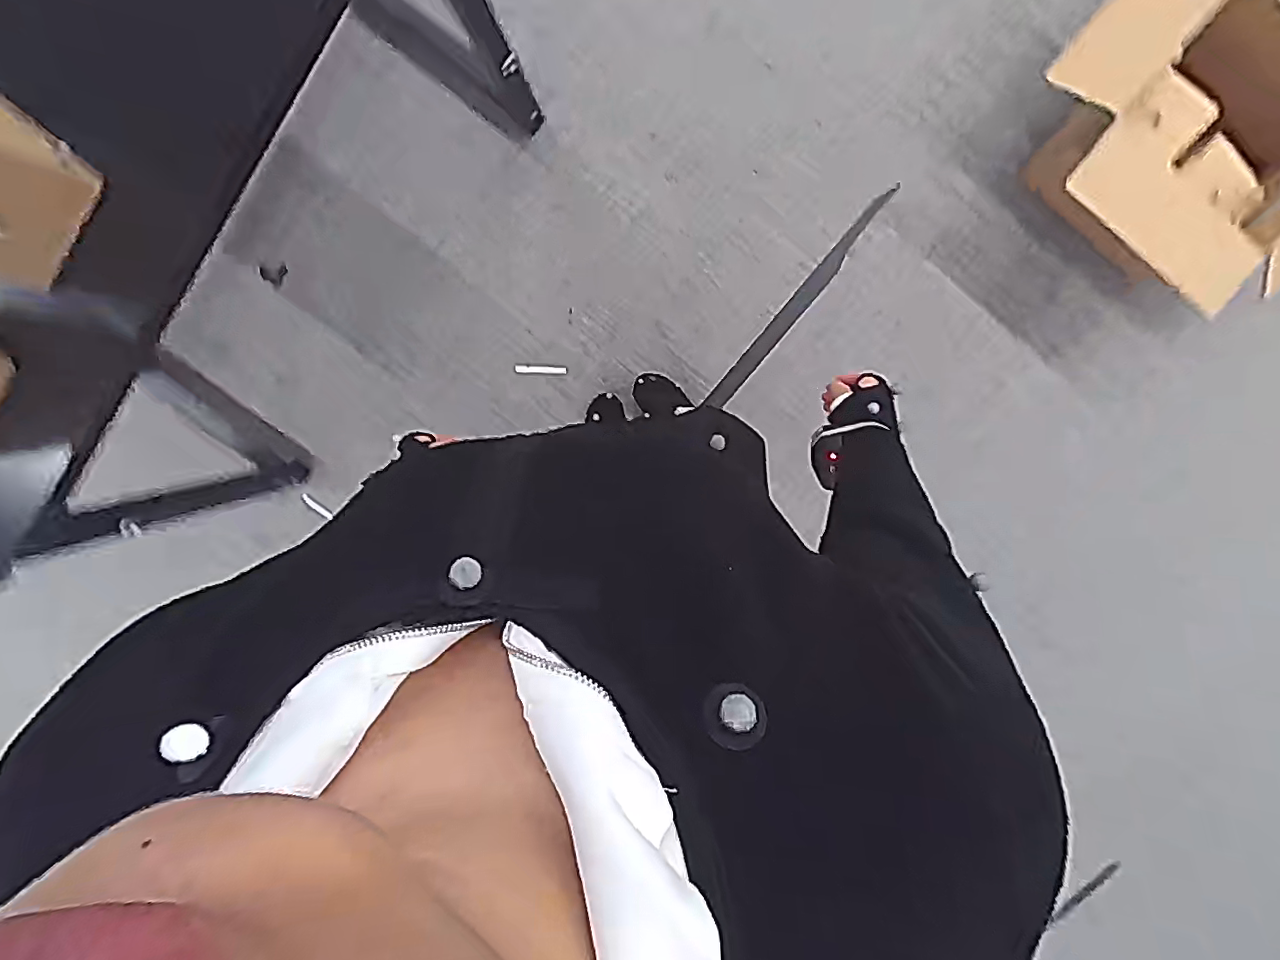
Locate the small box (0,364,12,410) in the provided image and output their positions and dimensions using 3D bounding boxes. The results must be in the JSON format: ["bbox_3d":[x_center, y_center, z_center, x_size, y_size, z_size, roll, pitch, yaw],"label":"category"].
[{"bbox_3d":[-1.001,-0.124,0.701,0.168,0.176,0.179,35,100,-2],"label":"small box"}]

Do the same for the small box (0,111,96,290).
[{"bbox_3d":[-0.829,-0.358,0.649,0.168,0.176,0.179,38,101,-3],"label":"small box"}]
